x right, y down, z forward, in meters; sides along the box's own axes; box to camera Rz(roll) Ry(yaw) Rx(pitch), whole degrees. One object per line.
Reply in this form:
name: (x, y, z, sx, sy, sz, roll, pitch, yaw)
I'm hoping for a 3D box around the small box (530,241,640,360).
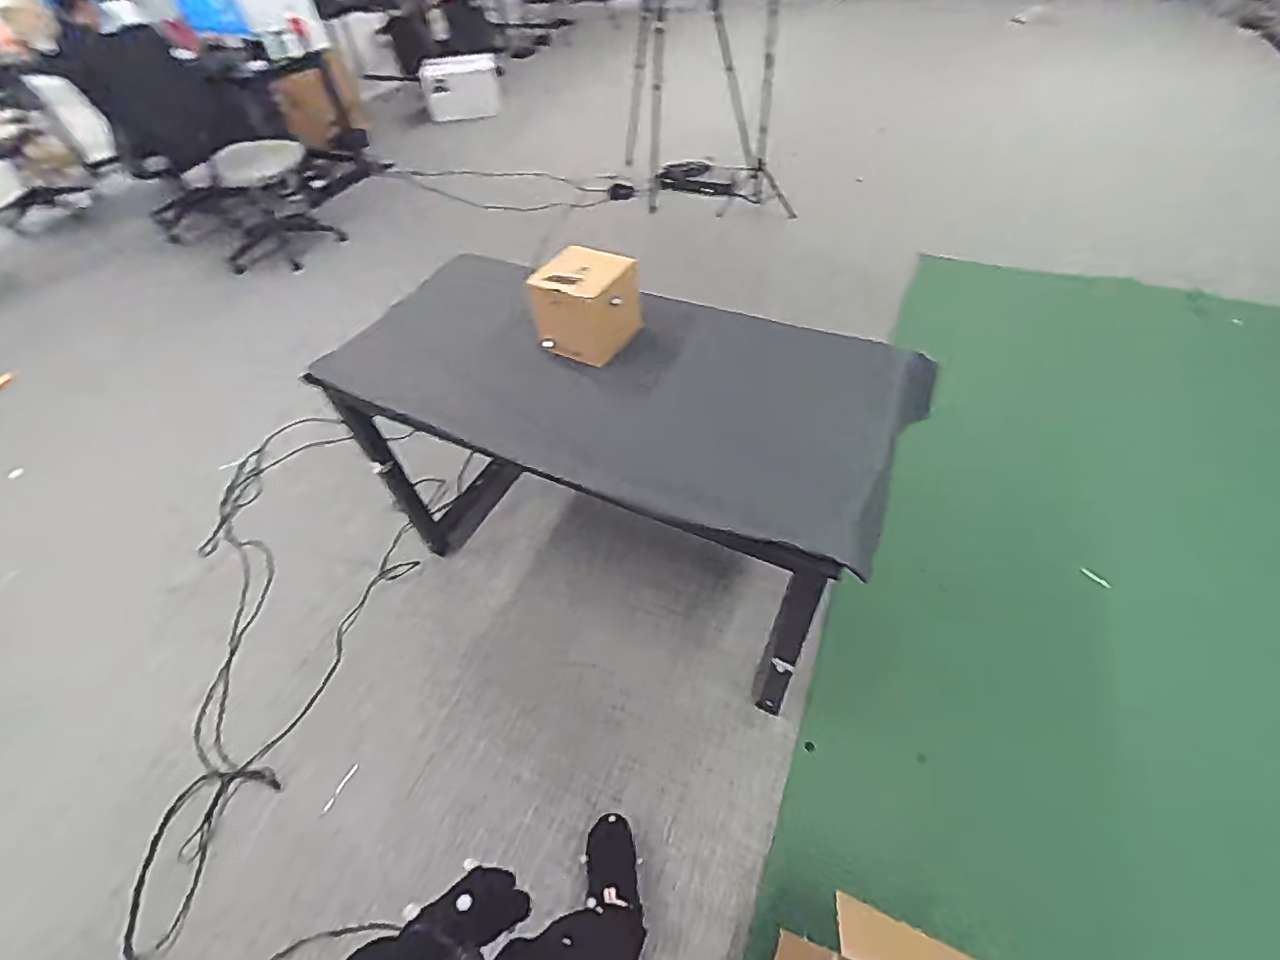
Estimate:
small box: (-0.109, -0.391, 1.184, 0.168, 0.176, 0.179, 23, 55, 21)
